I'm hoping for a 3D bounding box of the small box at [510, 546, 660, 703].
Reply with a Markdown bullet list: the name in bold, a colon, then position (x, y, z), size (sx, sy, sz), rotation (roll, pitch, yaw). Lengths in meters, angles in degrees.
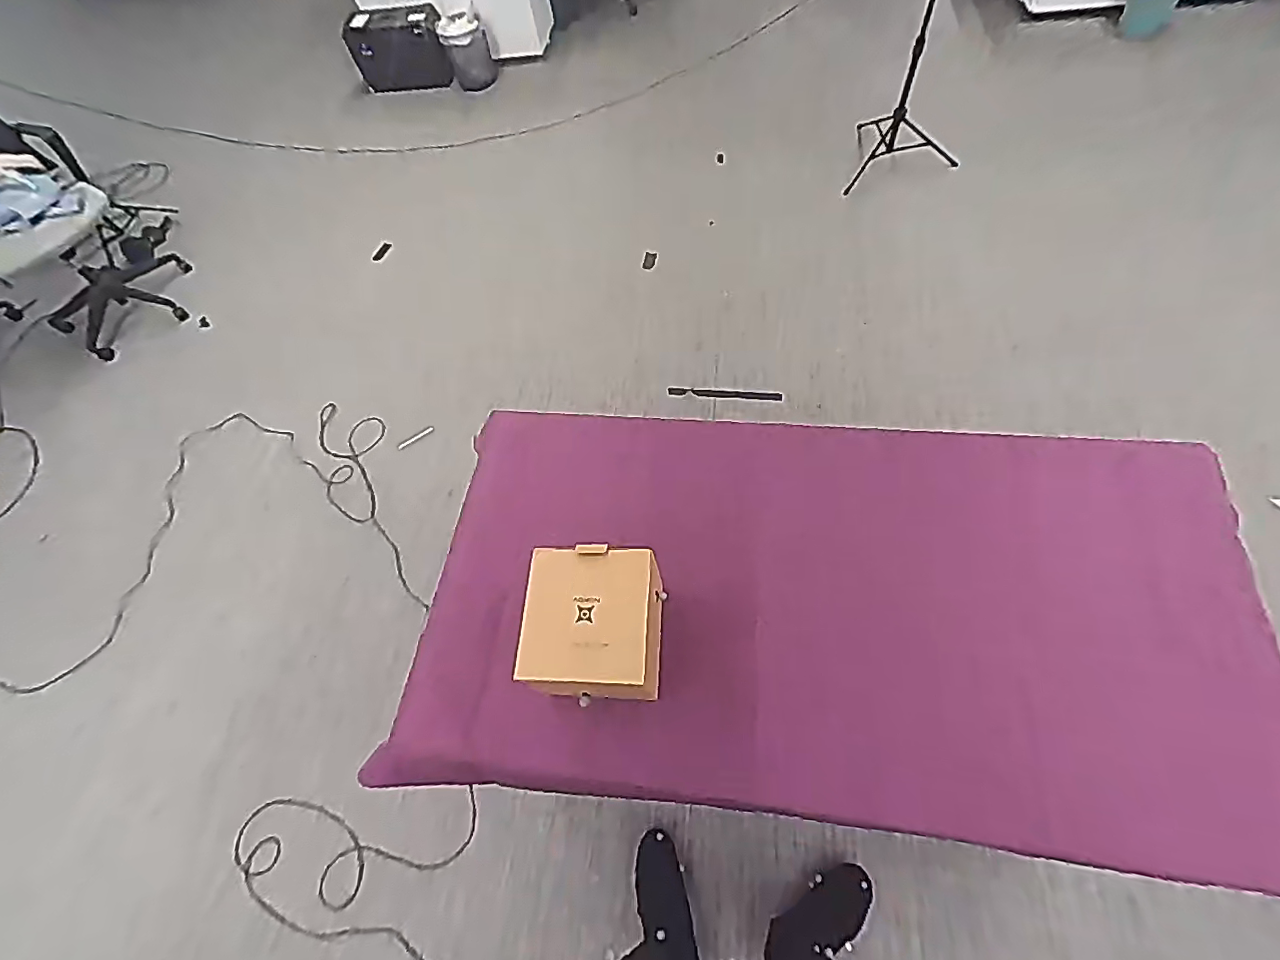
- **small box**: position (-0.063, 0.205, 0.758), size (0.168, 0.176, 0.179), rotation (0, 62, 8)
